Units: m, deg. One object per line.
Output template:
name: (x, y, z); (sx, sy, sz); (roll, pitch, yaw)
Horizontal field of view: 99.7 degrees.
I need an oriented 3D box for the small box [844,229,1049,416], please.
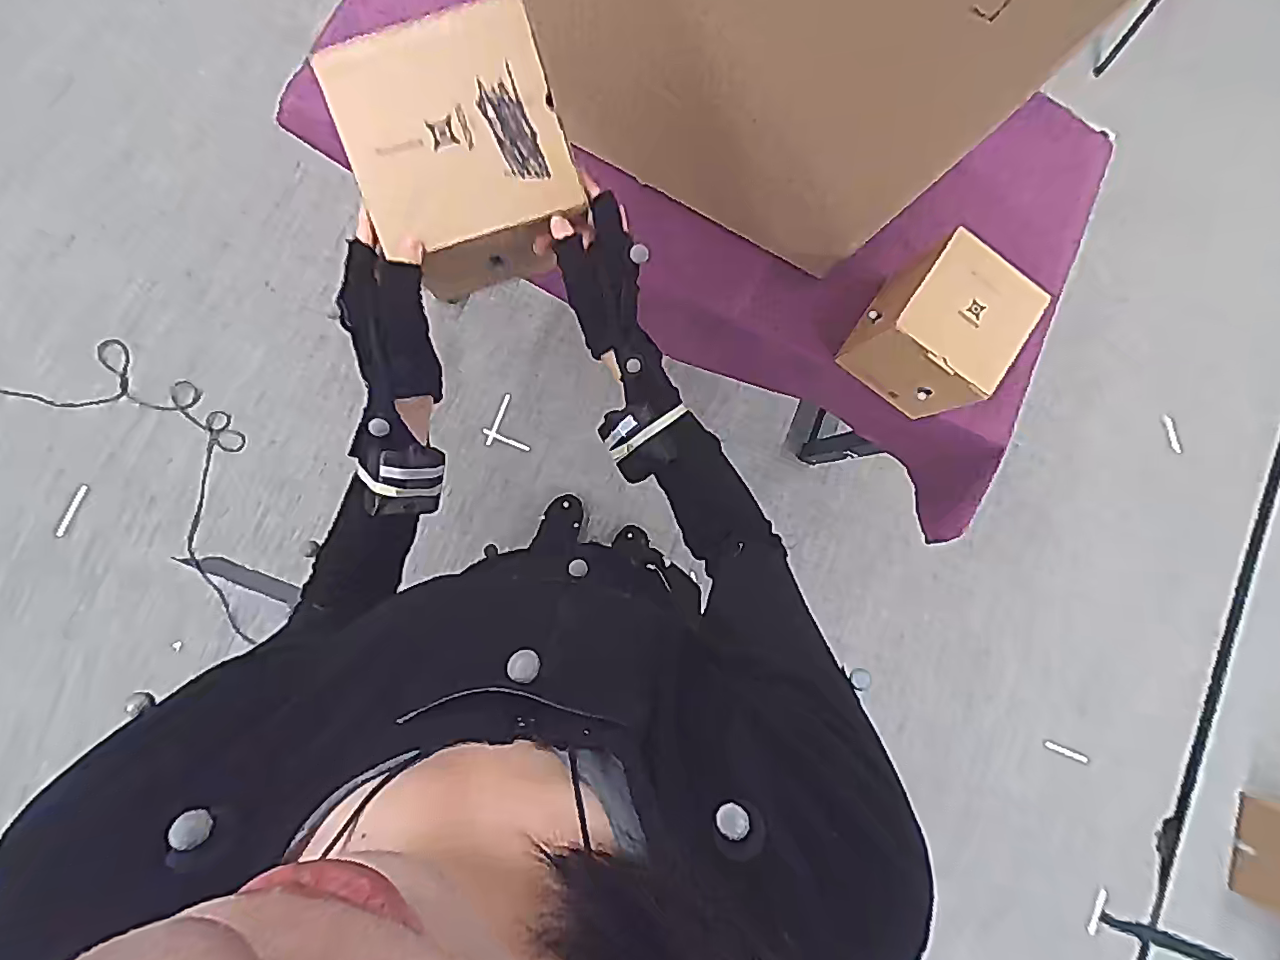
small box: (0.434, -0.216, 0.798); (0.168, 0.176, 0.179); (35, 82, -5)
